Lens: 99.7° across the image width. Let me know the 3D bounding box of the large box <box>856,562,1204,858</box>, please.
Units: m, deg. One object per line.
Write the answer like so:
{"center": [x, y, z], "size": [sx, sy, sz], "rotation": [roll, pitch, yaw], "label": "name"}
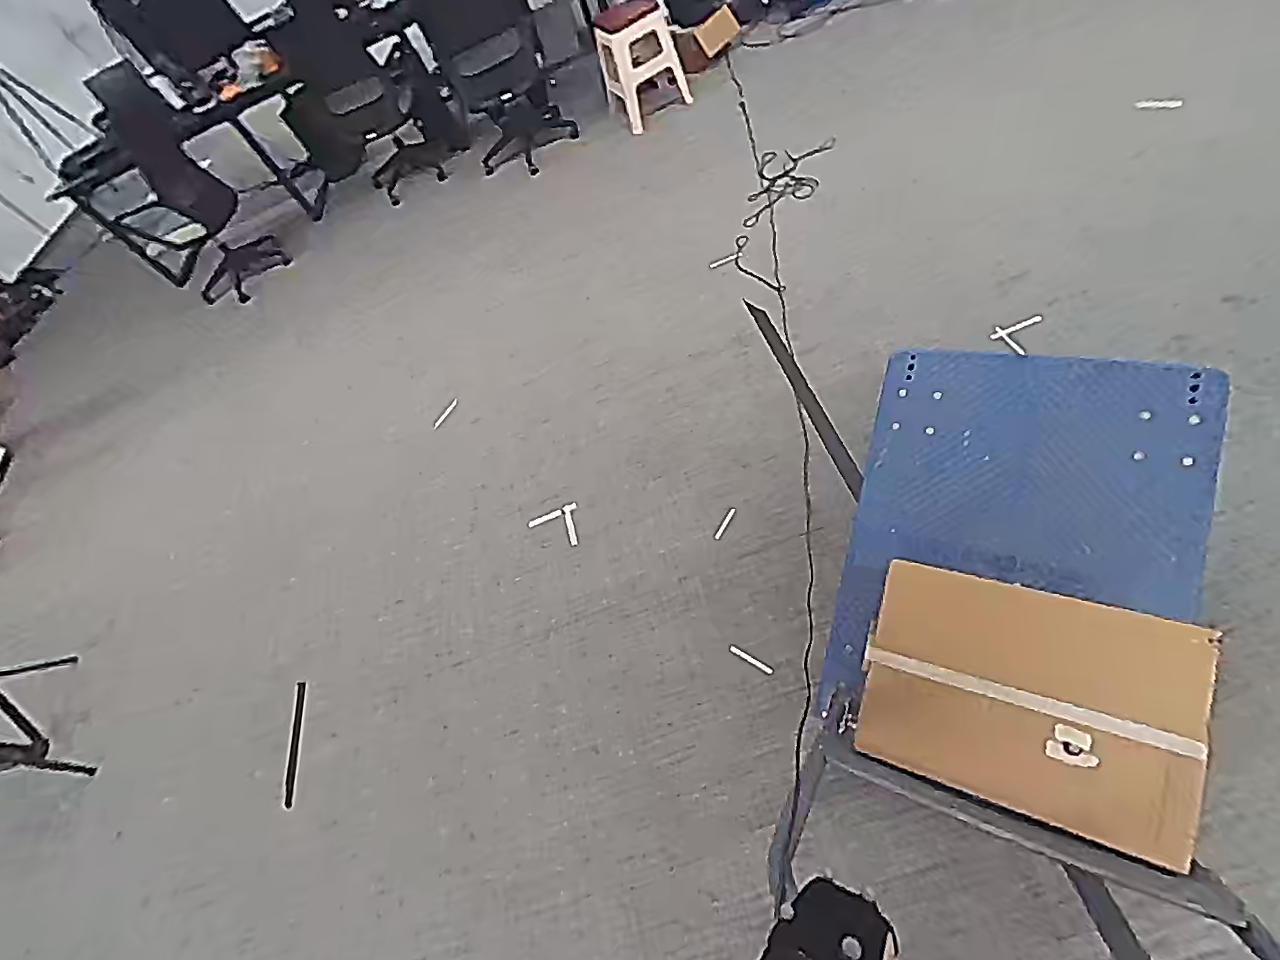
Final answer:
{"center": [0.617, 0.346, 0.937], "size": [0.408, 0.320, 0.320], "rotation": [12, 84, 26], "label": "large box"}
